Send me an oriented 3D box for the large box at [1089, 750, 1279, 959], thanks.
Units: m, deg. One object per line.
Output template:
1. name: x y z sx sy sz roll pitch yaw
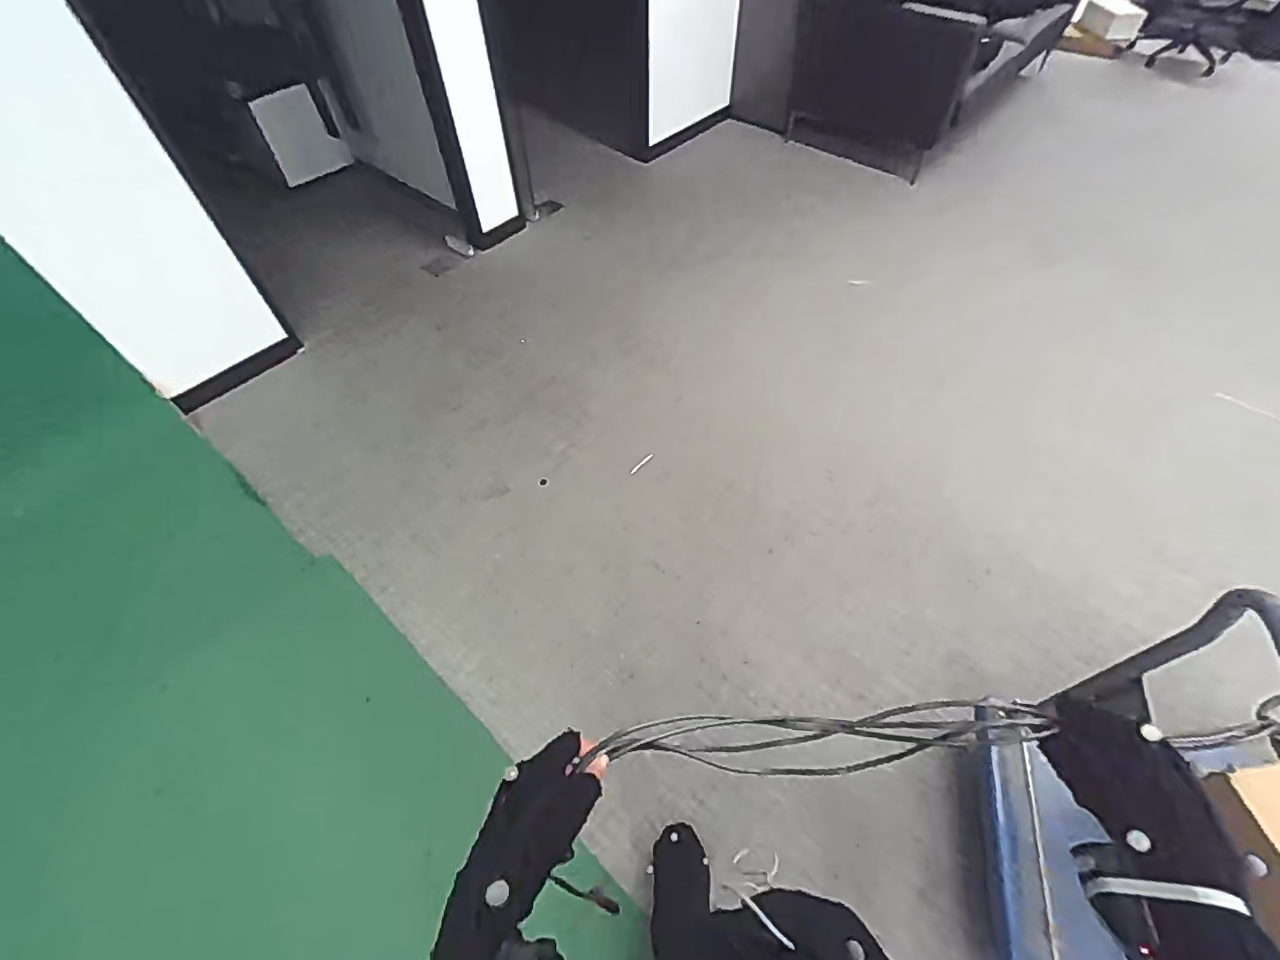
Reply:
1. large box: 1.085 0.687 0.880 0.320 0.320 0.408 -6 53 -4
